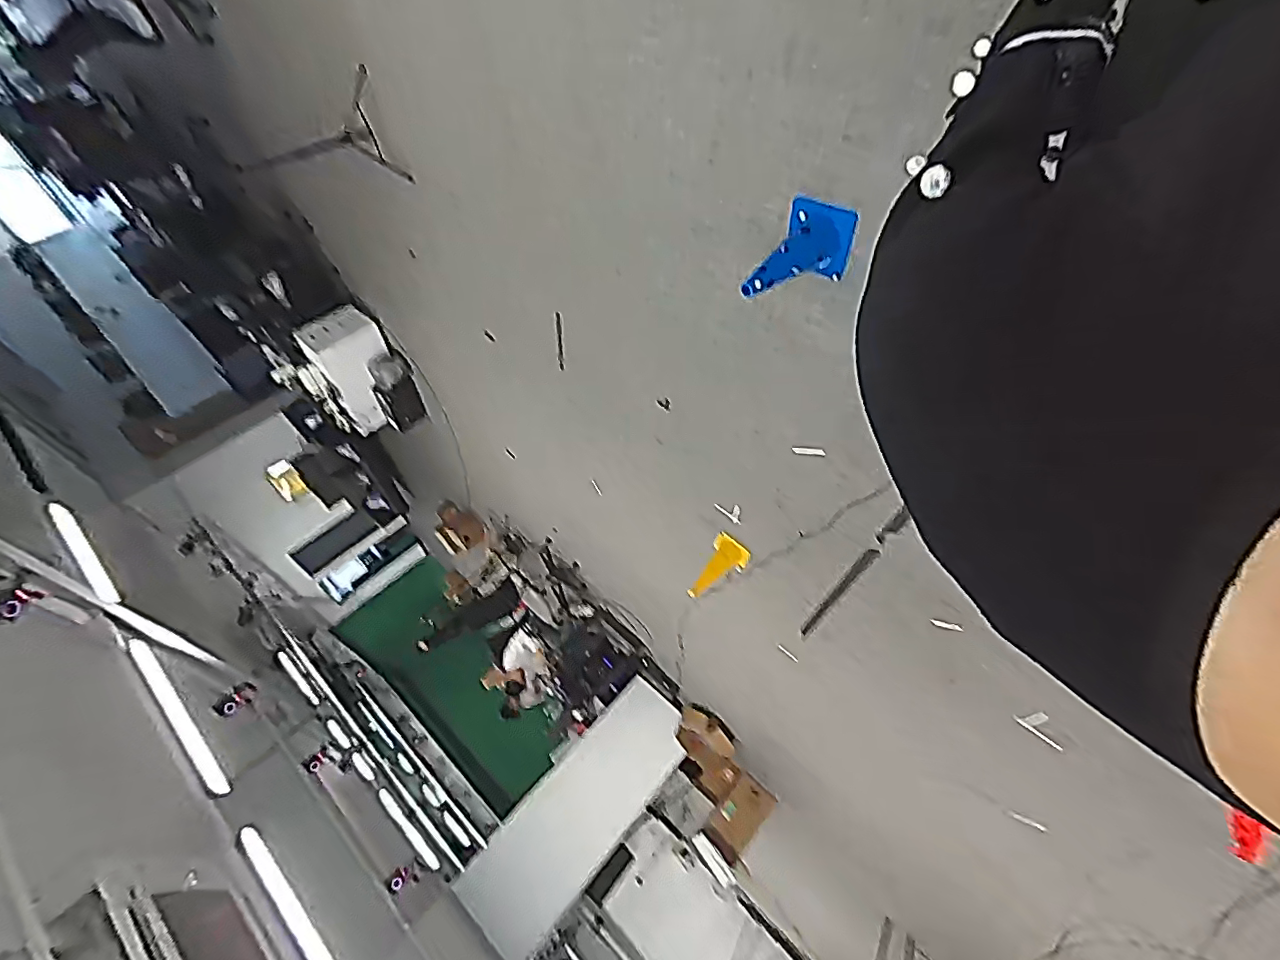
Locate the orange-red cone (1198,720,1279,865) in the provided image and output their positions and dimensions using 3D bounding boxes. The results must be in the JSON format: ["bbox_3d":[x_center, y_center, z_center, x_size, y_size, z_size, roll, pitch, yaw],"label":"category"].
[{"bbox_3d":[1.681,0.880,1.482,0.198,0.360,0.199,34,148,25],"label":"orange-red cone"}]

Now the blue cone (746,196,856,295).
[{"bbox_3d":[0.399,-0.600,1.461,0.192,0.380,0.193,34,149,26],"label":"blue cone"}]
